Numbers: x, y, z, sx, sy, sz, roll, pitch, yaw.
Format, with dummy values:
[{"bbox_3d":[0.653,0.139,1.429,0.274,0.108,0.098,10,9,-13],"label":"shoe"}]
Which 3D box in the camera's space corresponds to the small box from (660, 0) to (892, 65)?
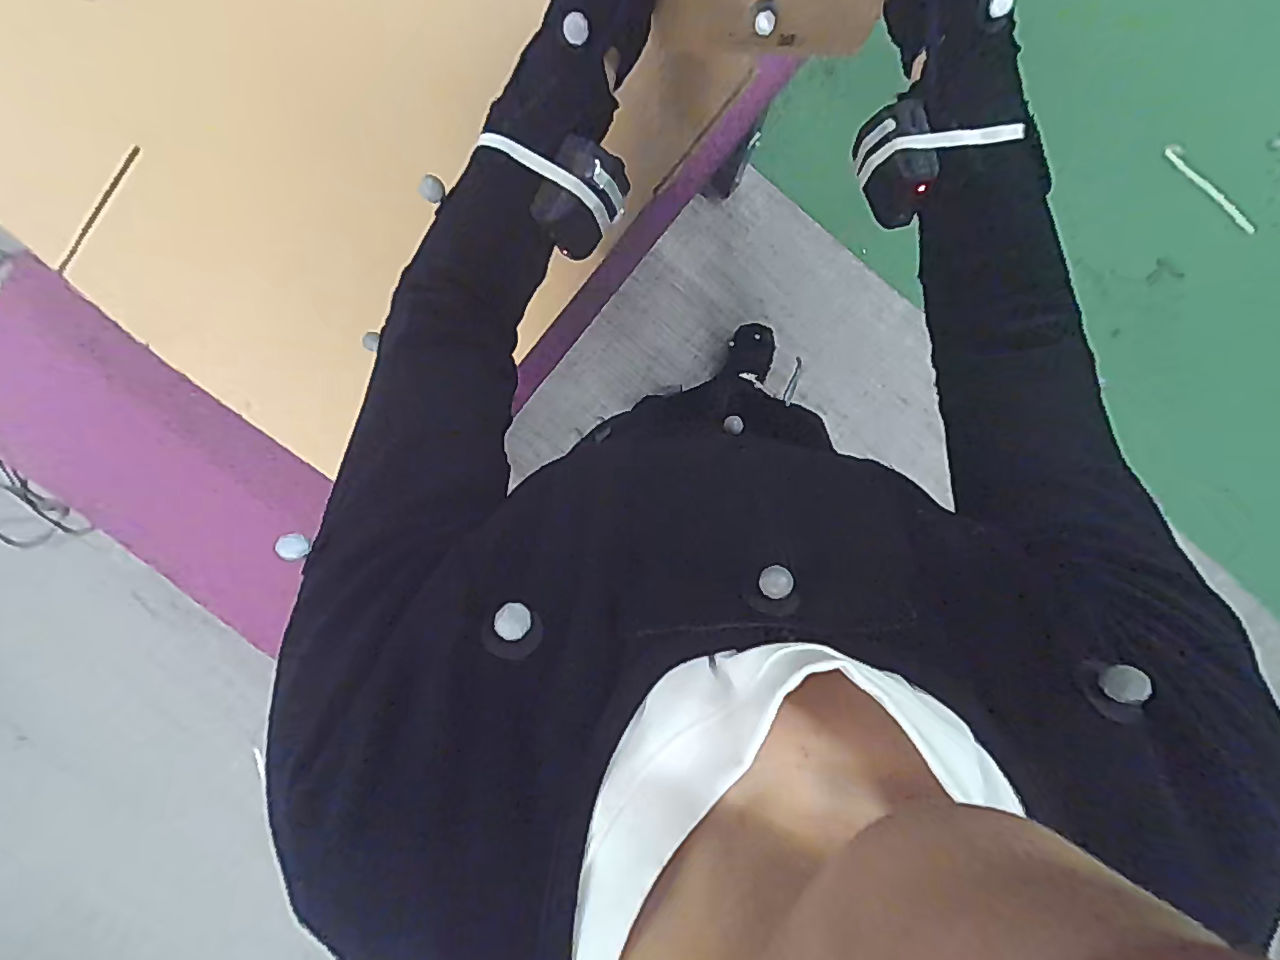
[{"bbox_3d":[0.099,-0.415,0.346,0.168,0.176,0.179,5,100,2],"label":"small box"}]
